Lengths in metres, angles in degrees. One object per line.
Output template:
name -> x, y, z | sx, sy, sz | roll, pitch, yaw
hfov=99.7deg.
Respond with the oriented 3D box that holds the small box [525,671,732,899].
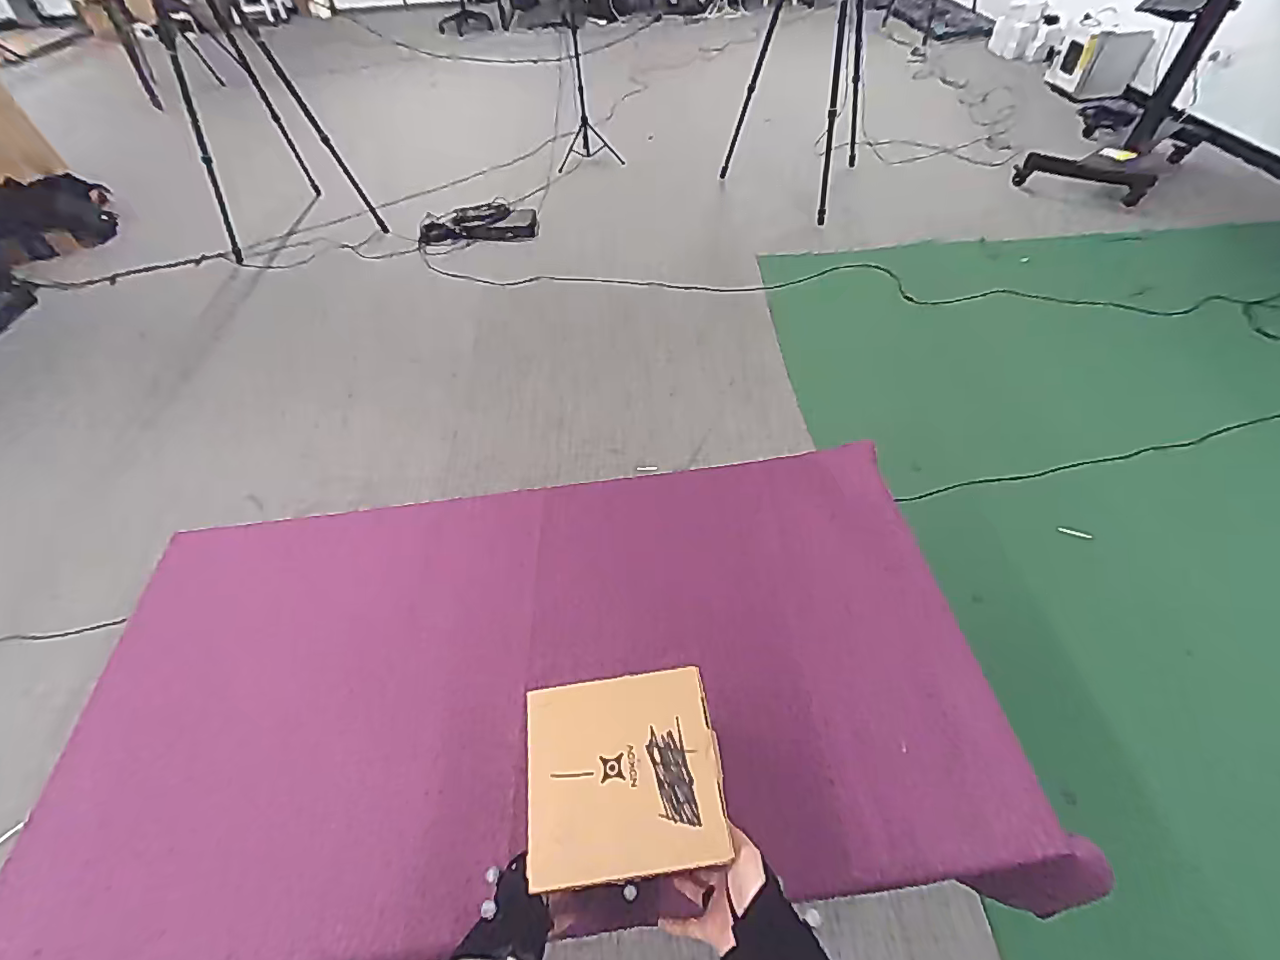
small box -> -0.013, 0.312, 0.556 | 0.179, 0.176, 0.168 | -9, 54, -1
